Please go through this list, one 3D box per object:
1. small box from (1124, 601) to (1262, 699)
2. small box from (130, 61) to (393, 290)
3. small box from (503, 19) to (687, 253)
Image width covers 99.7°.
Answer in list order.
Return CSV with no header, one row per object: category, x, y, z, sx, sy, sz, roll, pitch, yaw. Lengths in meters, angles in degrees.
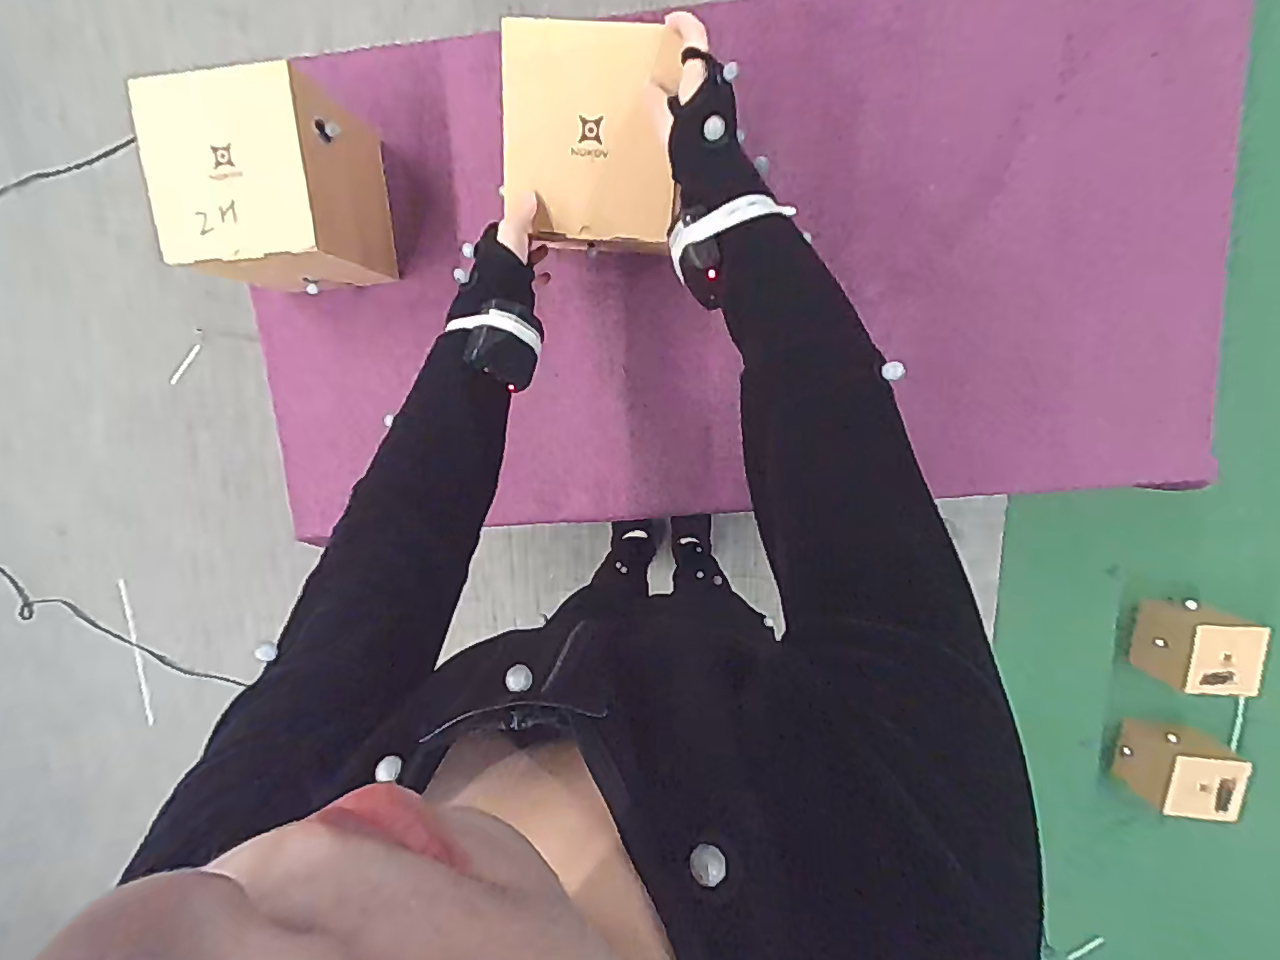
small box,1.379,0.424,1.364,0.168,0.176,0.179,2,98,3
small box,-0.407,-0.326,0.614,0.168,0.176,0.179,-3,100,4
small box,-0.041,-0.344,0.576,0.168,0.176,0.179,5,112,3
